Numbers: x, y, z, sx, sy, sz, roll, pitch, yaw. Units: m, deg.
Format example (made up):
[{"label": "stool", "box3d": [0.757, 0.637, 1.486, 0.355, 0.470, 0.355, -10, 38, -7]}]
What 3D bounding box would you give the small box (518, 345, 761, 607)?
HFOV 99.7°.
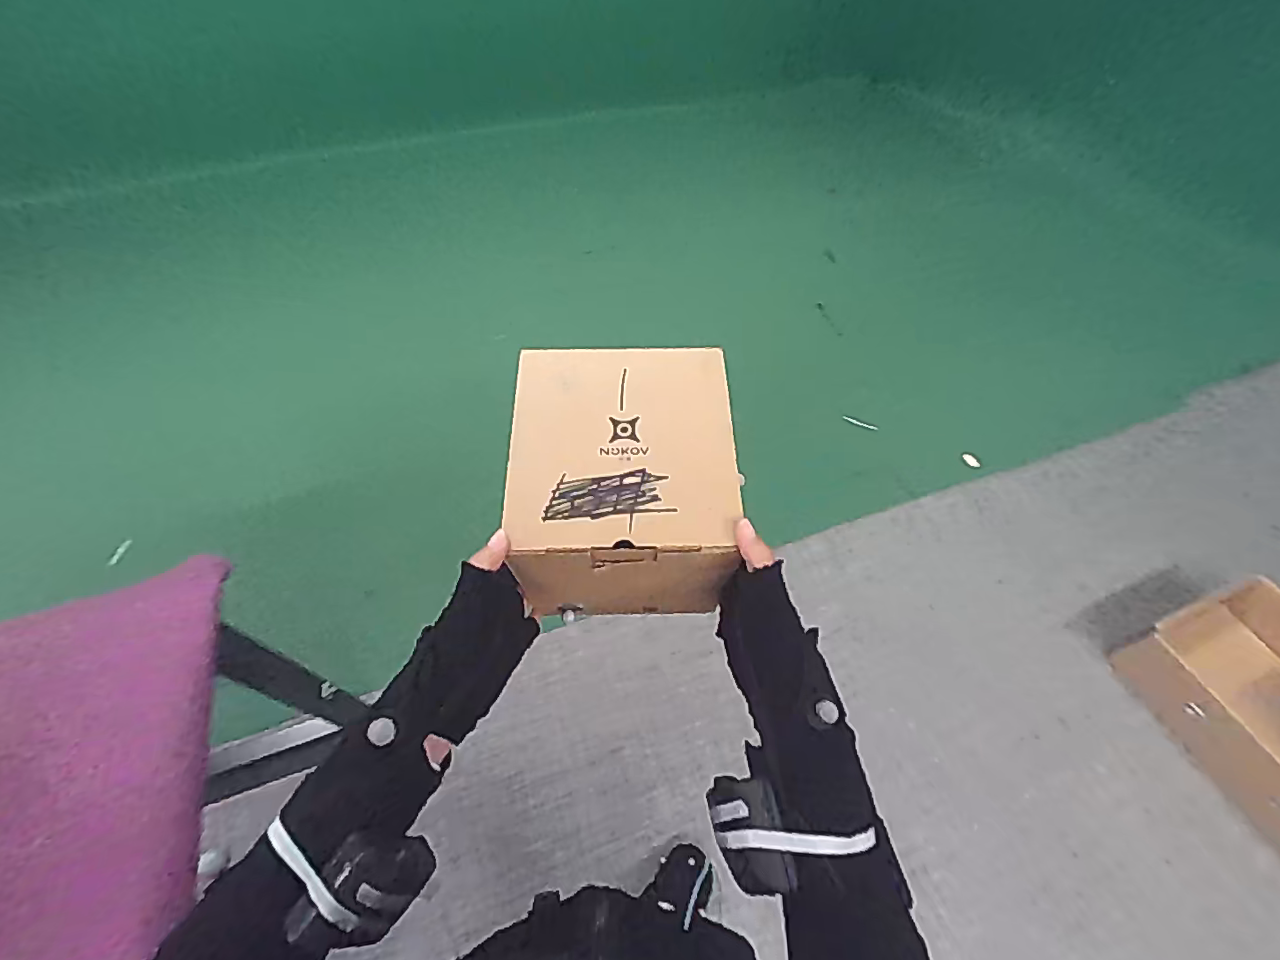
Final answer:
[{"label": "small box", "box3d": [0.000, 0.006, 0.465, 0.168, 0.176, 0.179, 0, 62, -1]}]
